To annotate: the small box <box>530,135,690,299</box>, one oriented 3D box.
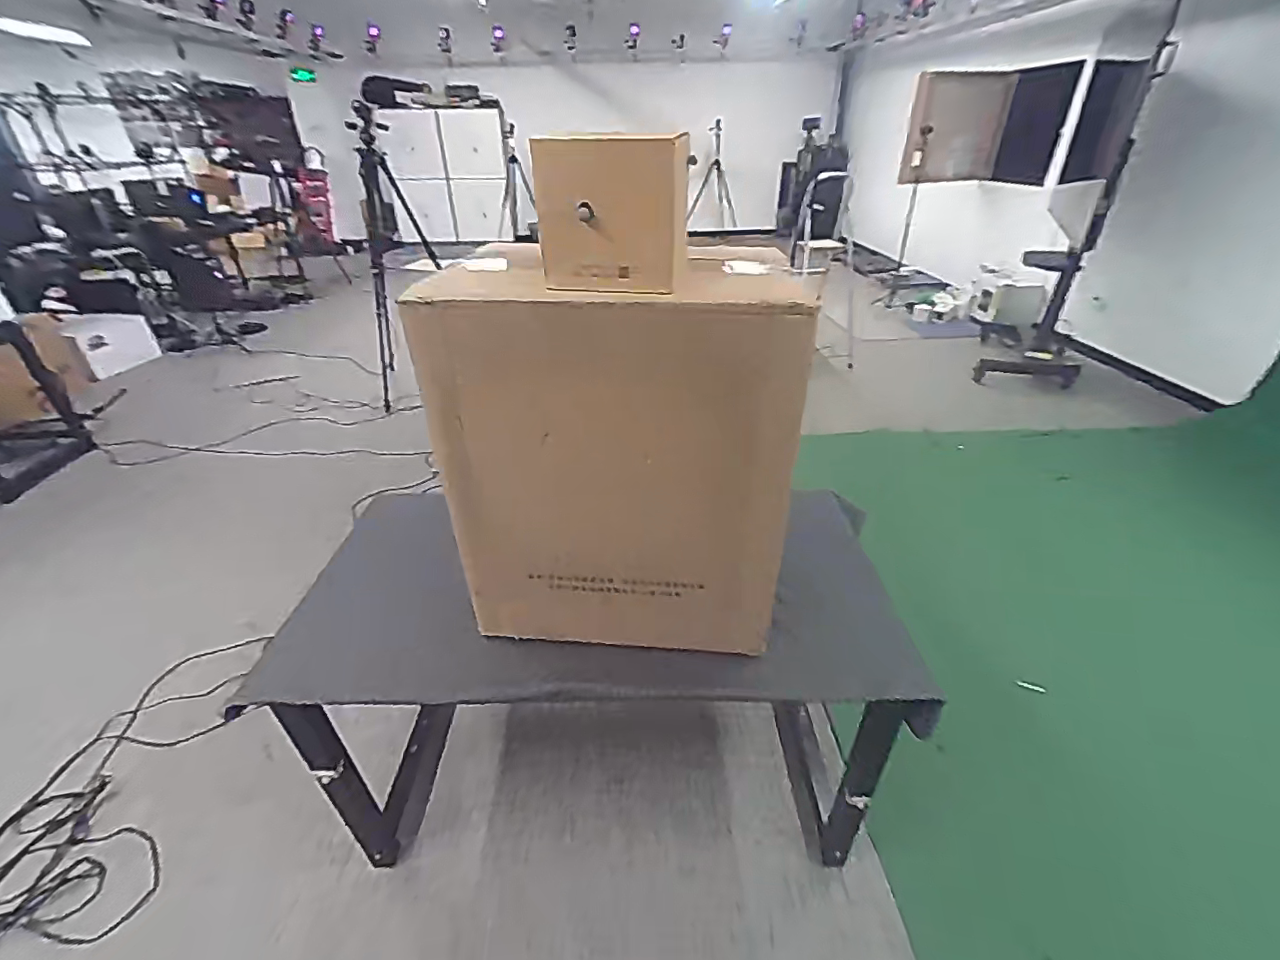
[{"bbox_3d":[-0.026,-0.341,0.701,0.168,0.176,0.179,5,35,9],"label":"small box"}]
